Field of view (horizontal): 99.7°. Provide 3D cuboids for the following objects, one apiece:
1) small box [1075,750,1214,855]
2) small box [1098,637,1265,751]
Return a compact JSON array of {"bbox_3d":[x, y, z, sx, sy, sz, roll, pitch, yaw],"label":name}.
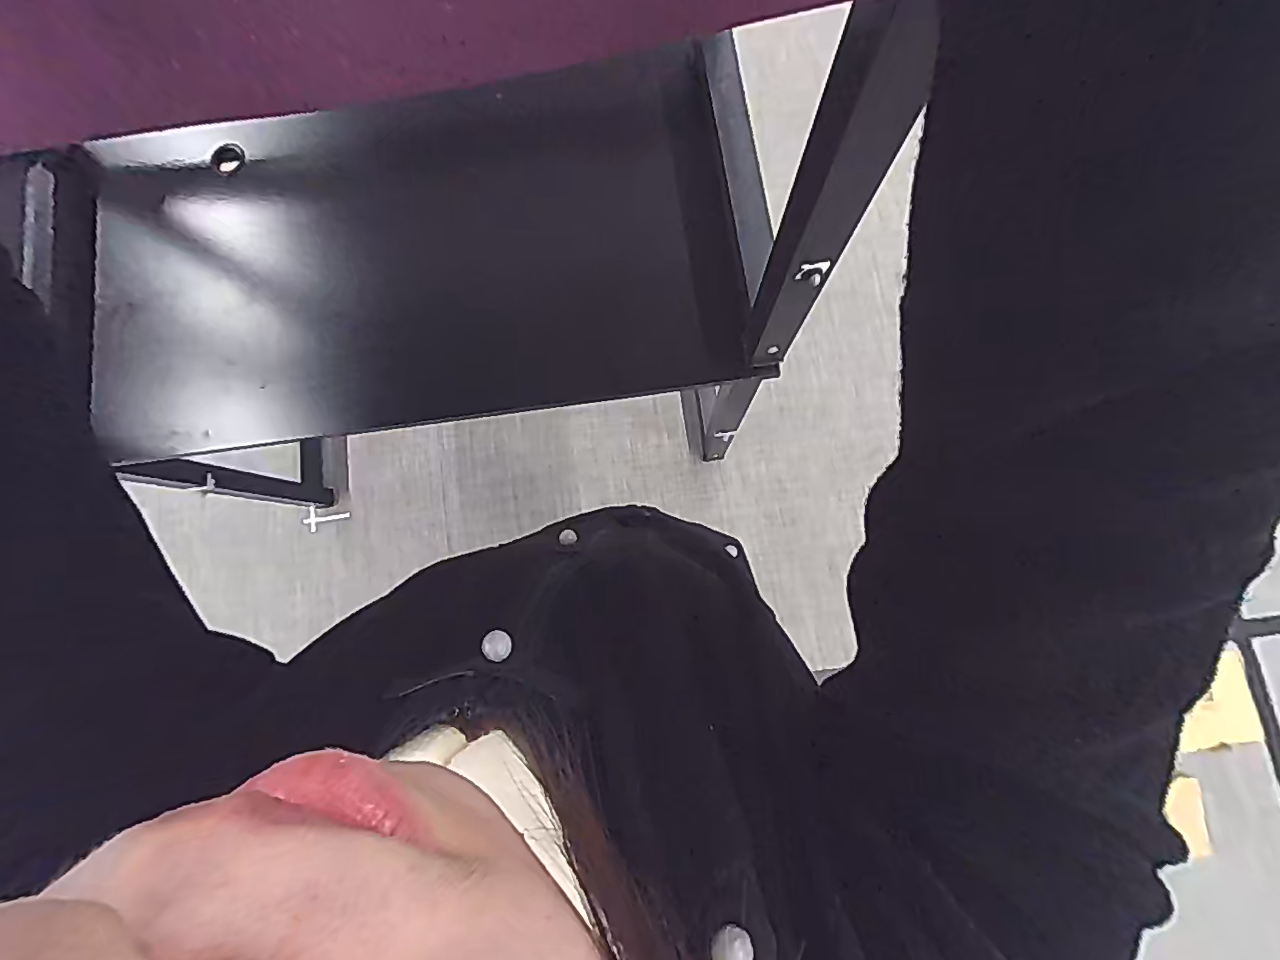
[{"bbox_3d":[1.176,0.756,1.280,0.179,0.176,0.168,-3,82,2],"label":"small box"},{"bbox_3d":[1.143,0.449,1.158,0.168,0.176,0.179,-11,82,1],"label":"small box"}]
